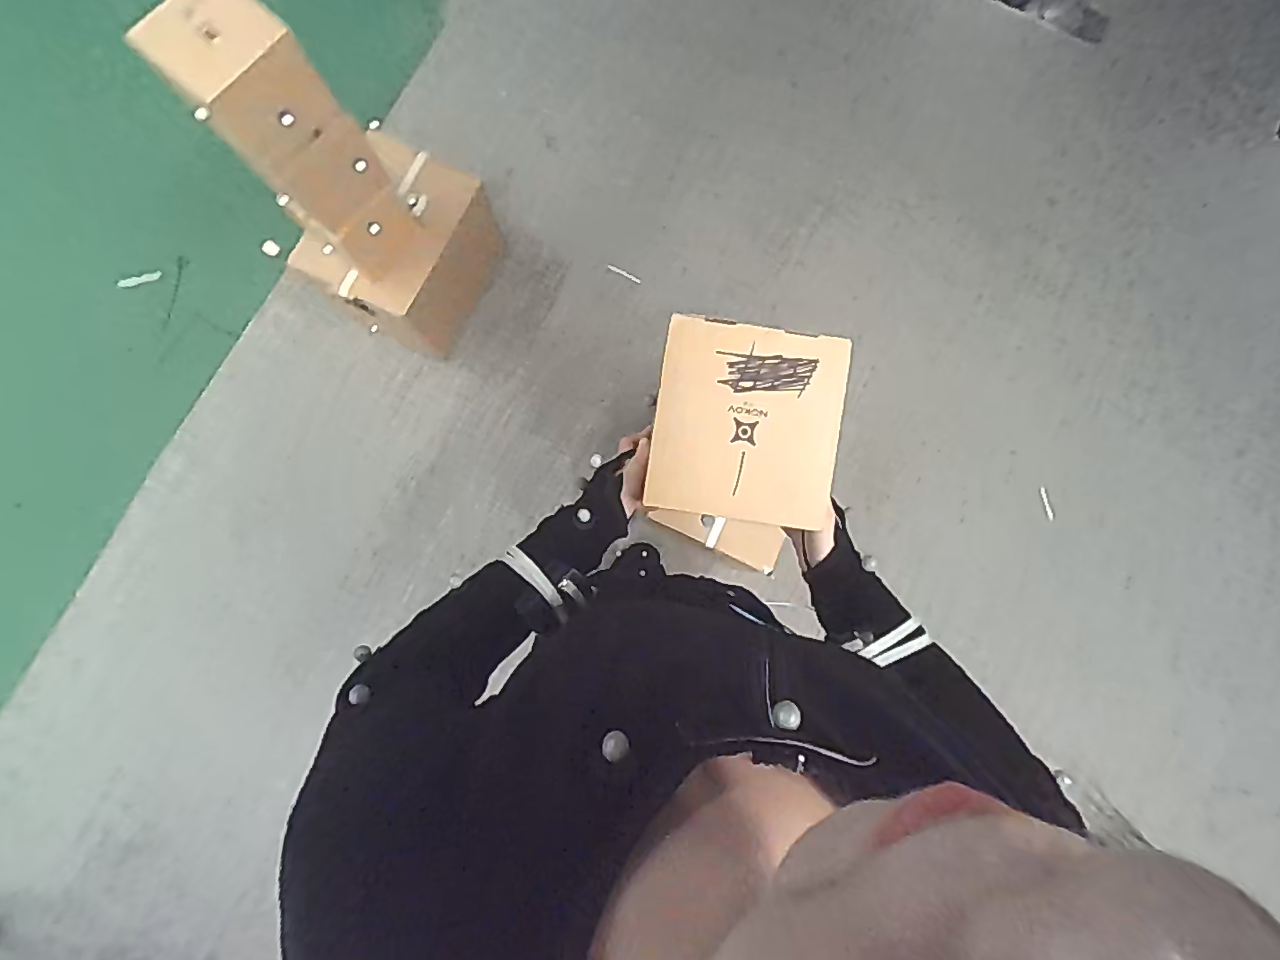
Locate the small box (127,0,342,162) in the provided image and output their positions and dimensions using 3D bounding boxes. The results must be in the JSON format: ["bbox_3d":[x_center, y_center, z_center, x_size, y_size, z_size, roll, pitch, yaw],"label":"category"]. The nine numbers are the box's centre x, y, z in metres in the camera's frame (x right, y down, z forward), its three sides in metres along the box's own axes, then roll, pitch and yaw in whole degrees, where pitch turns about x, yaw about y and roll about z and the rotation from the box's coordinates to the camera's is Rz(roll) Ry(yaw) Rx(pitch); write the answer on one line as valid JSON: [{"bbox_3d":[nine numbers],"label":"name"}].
[{"bbox_3d":[-0.626,-0.652,0.863,0.179,0.176,0.168,41,83,4],"label":"small box"}]

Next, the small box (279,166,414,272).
[{"bbox_3d":[-0.626,-0.602,1.187,0.168,0.176,0.179,37,84,3],"label":"small box"}]

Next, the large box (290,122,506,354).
[{"bbox_3d":[-0.608,-0.615,1.433,0.320,0.320,0.408,26,82,1],"label":"large box"}]

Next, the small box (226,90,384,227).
[{"bbox_3d":[-0.621,-0.631,1.026,0.168,0.176,0.179,40,84,4],"label":"small box"}]

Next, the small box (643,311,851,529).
[{"bbox_3d":[0.095,-0.055,0.559,0.168,0.176,0.179,8,92,0],"label":"small box"}]
